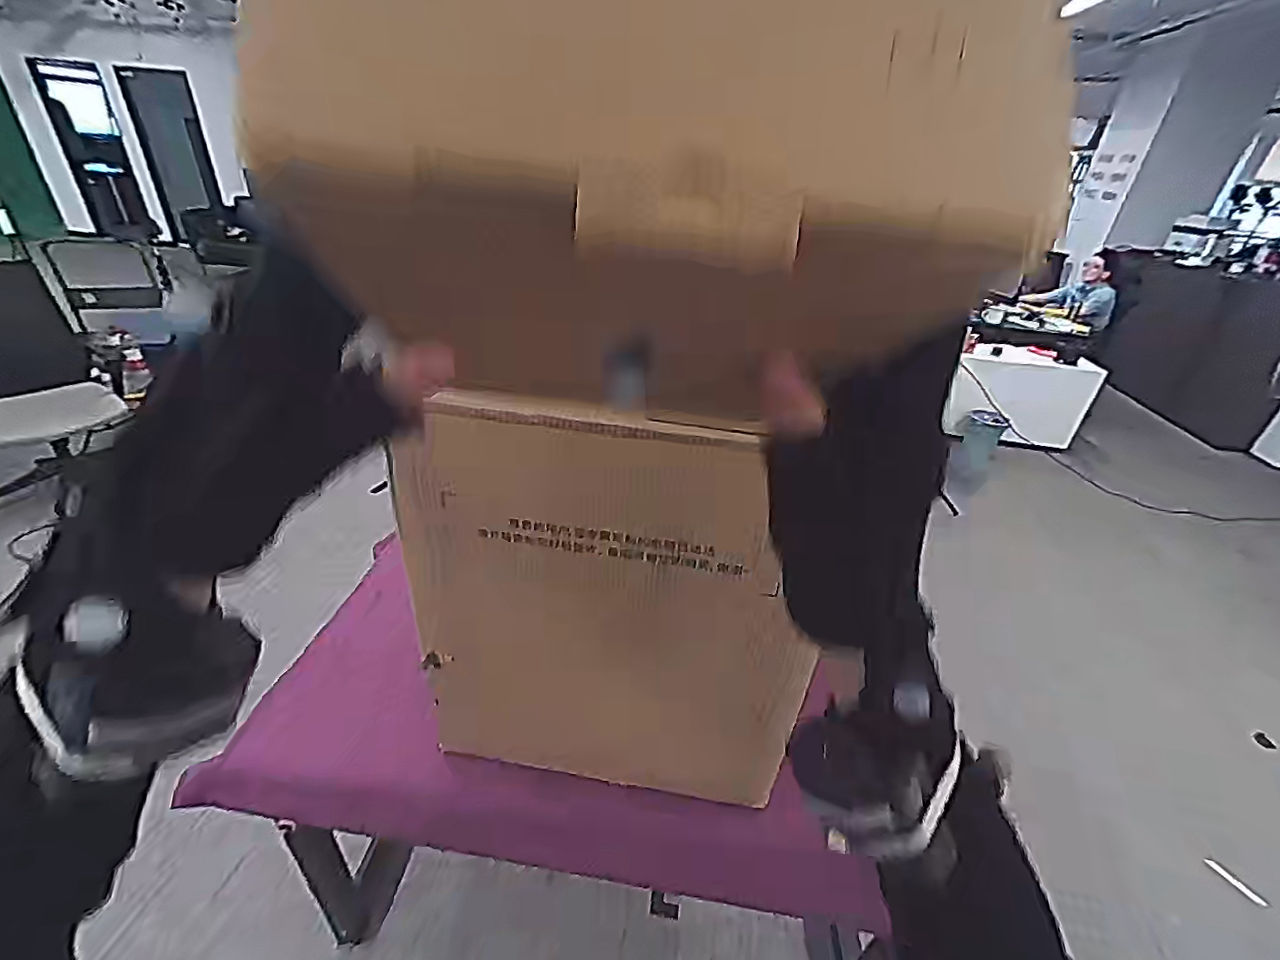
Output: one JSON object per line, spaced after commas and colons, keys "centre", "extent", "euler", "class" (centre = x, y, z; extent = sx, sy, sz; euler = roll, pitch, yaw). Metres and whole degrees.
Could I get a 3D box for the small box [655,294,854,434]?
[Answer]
{"centre": [0.112, -0.165, 0.555], "extent": [0.168, 0.176, 0.179], "euler": [9, 31, 8], "class": "small box"}
